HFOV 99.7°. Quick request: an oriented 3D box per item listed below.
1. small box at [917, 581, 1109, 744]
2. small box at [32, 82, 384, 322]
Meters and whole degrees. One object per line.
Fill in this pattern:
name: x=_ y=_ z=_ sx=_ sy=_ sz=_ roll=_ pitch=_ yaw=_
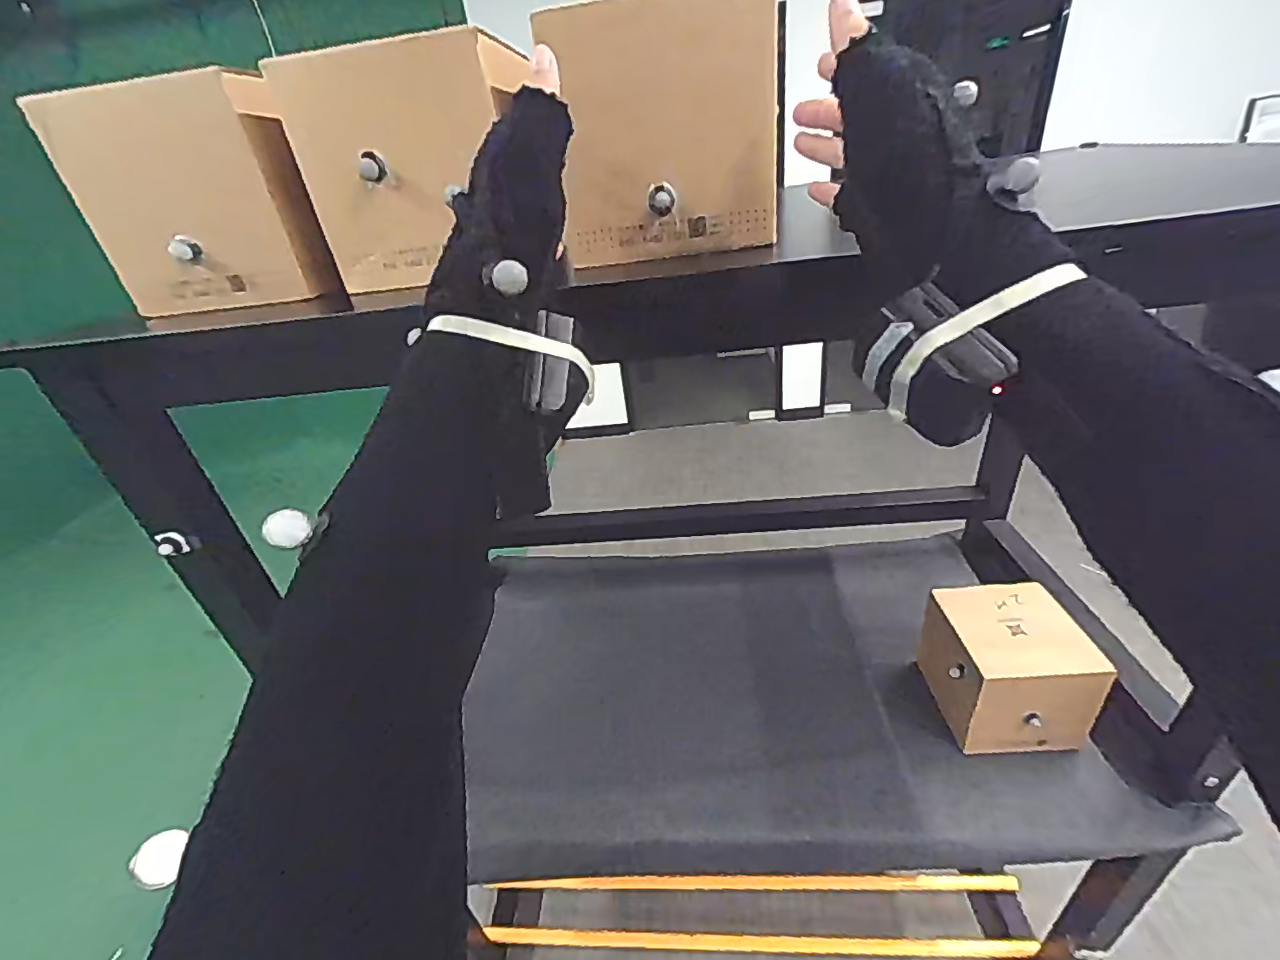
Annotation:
small box: x=0.545 y=0.280 z=0.821 sx=0.168 sy=0.176 sz=0.179 roll=-5 pitch=30 yaw=5
small box: x=-0.374 y=-0.260 z=0.518 sx=0.168 sy=0.176 sz=0.179 roll=-5 pitch=32 yaw=6
